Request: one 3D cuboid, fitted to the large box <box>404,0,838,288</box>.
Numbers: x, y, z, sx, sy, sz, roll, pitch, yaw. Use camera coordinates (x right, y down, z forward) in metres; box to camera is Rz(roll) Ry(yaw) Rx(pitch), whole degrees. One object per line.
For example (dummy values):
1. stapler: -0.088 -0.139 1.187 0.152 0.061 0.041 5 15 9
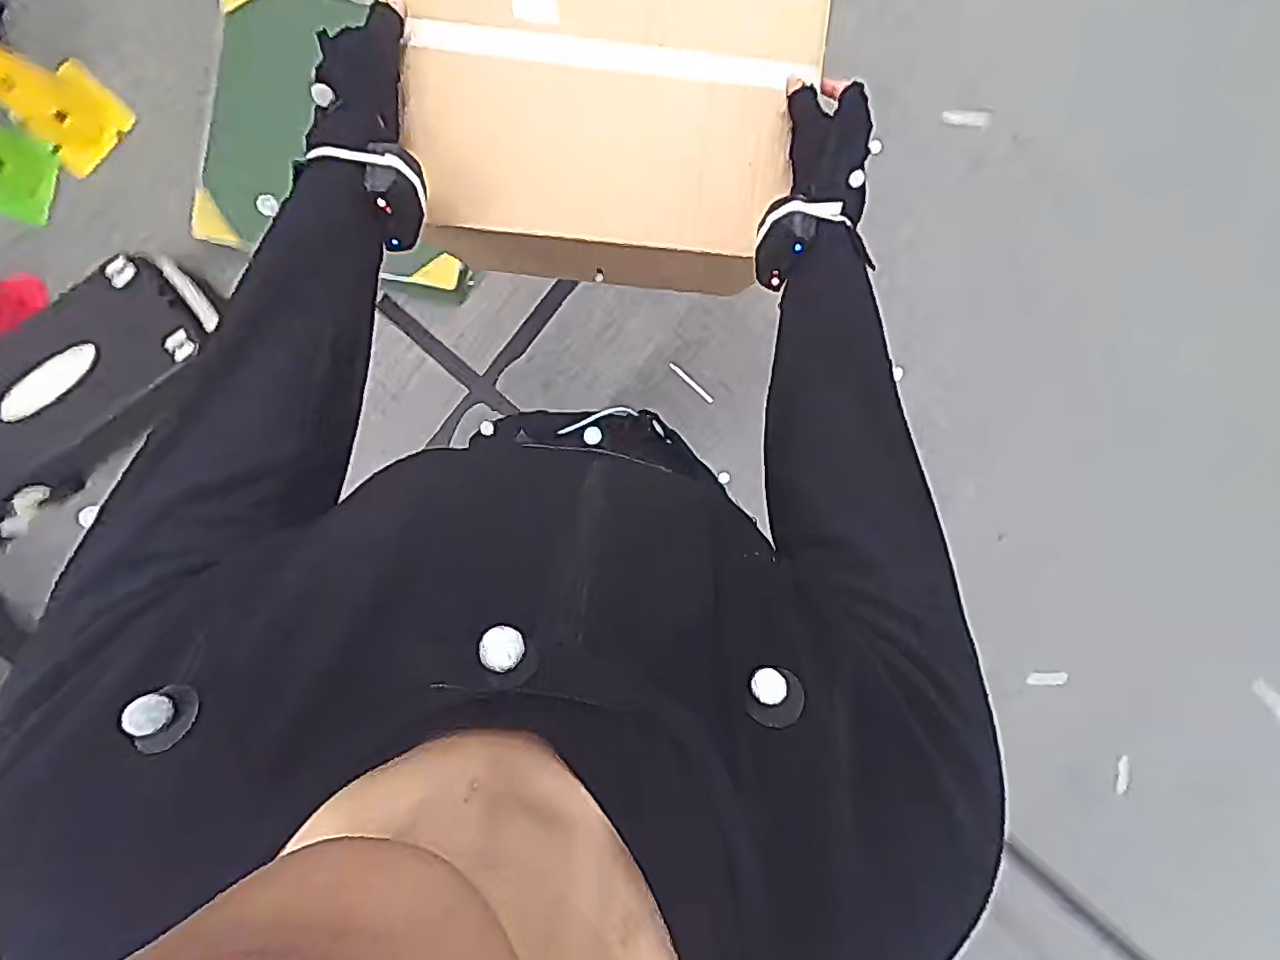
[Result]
1. large box: -0.022 -0.425 0.654 0.408 0.320 0.320 6 102 -3
